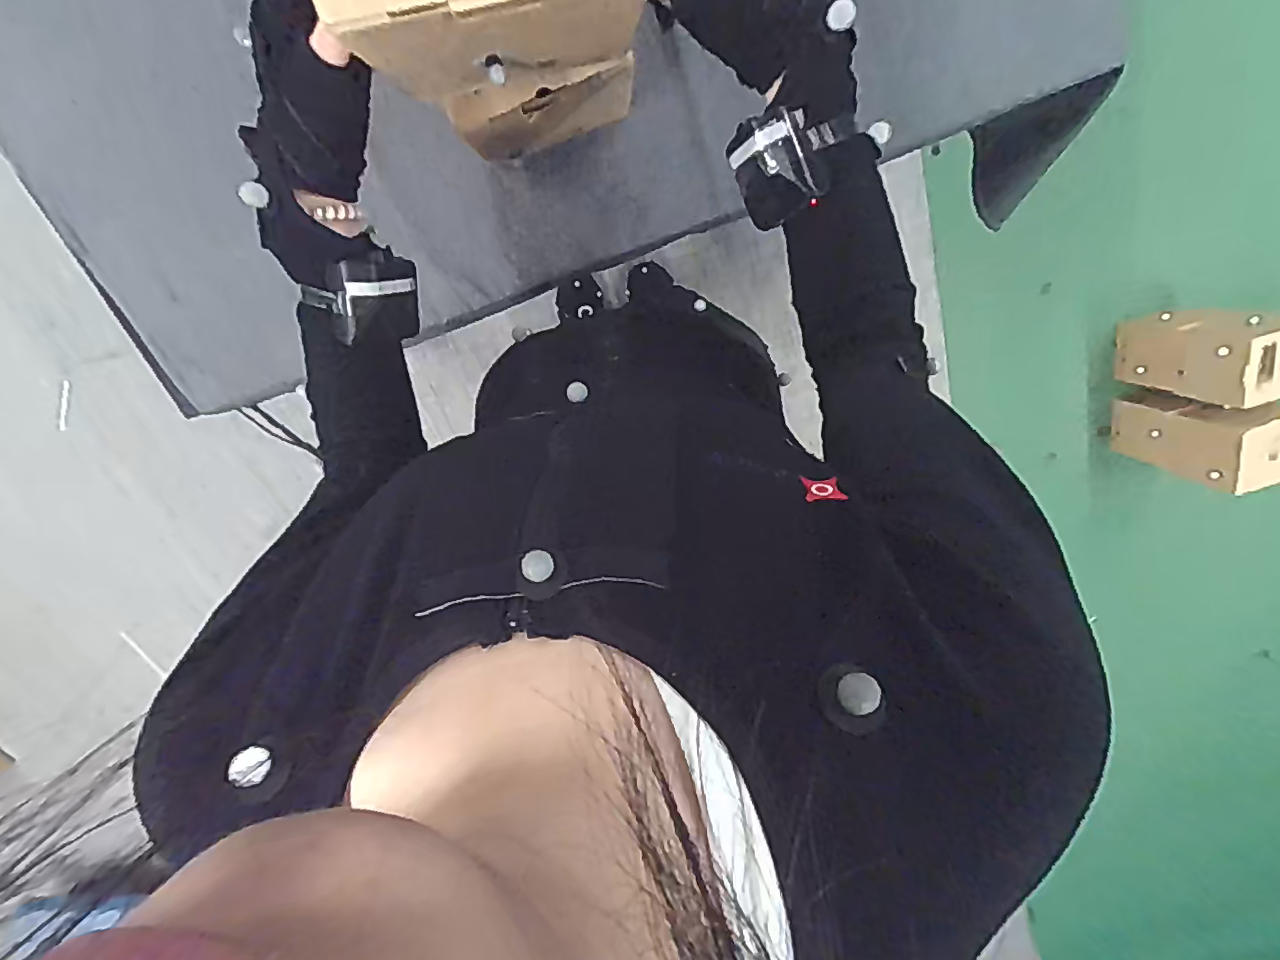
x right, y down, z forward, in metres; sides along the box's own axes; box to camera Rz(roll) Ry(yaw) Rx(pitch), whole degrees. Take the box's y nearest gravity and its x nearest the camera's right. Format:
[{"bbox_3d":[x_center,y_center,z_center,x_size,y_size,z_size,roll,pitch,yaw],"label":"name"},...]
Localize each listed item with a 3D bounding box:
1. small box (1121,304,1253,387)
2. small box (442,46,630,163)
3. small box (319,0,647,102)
[{"bbox_3d":[1.416,-0.356,1.415,0.179,0.176,0.168,-15,112,2],"label":"small box"},{"bbox_3d":[-0.114,-0.426,0.513,0.168,0.176,0.179,-20,110,4],"label":"small box"},{"bbox_3d":[-0.097,-0.342,0.299,0.168,0.176,0.179,-13,117,-1],"label":"small box"}]
